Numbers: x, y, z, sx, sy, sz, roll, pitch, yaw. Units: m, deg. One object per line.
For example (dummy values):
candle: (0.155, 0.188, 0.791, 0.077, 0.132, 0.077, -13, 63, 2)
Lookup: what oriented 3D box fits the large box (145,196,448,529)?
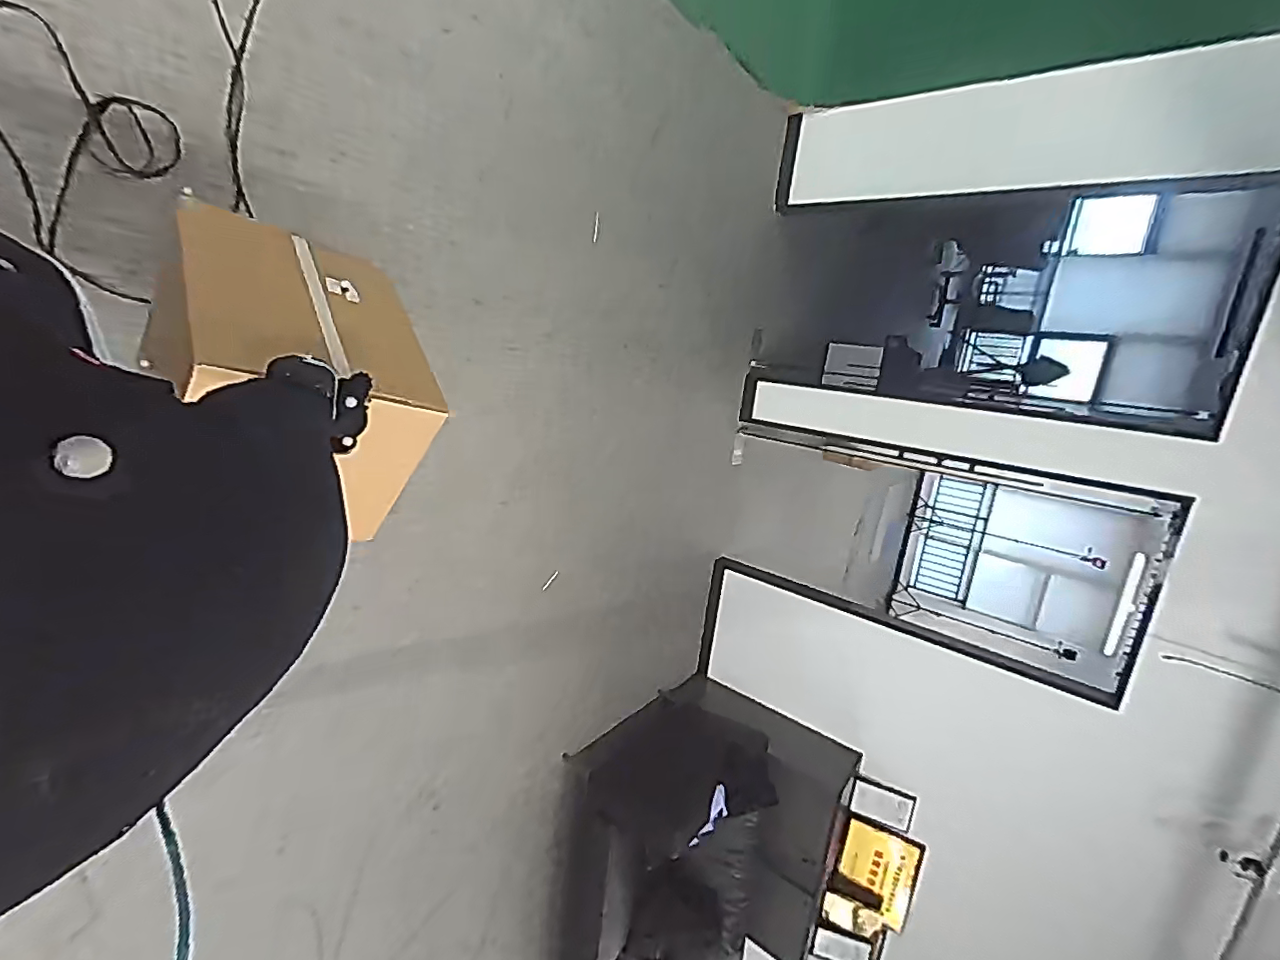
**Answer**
large box: (-0.578, -0.167, 0.888, 0.320, 0.408, 0.320, 9, 130, -50)
